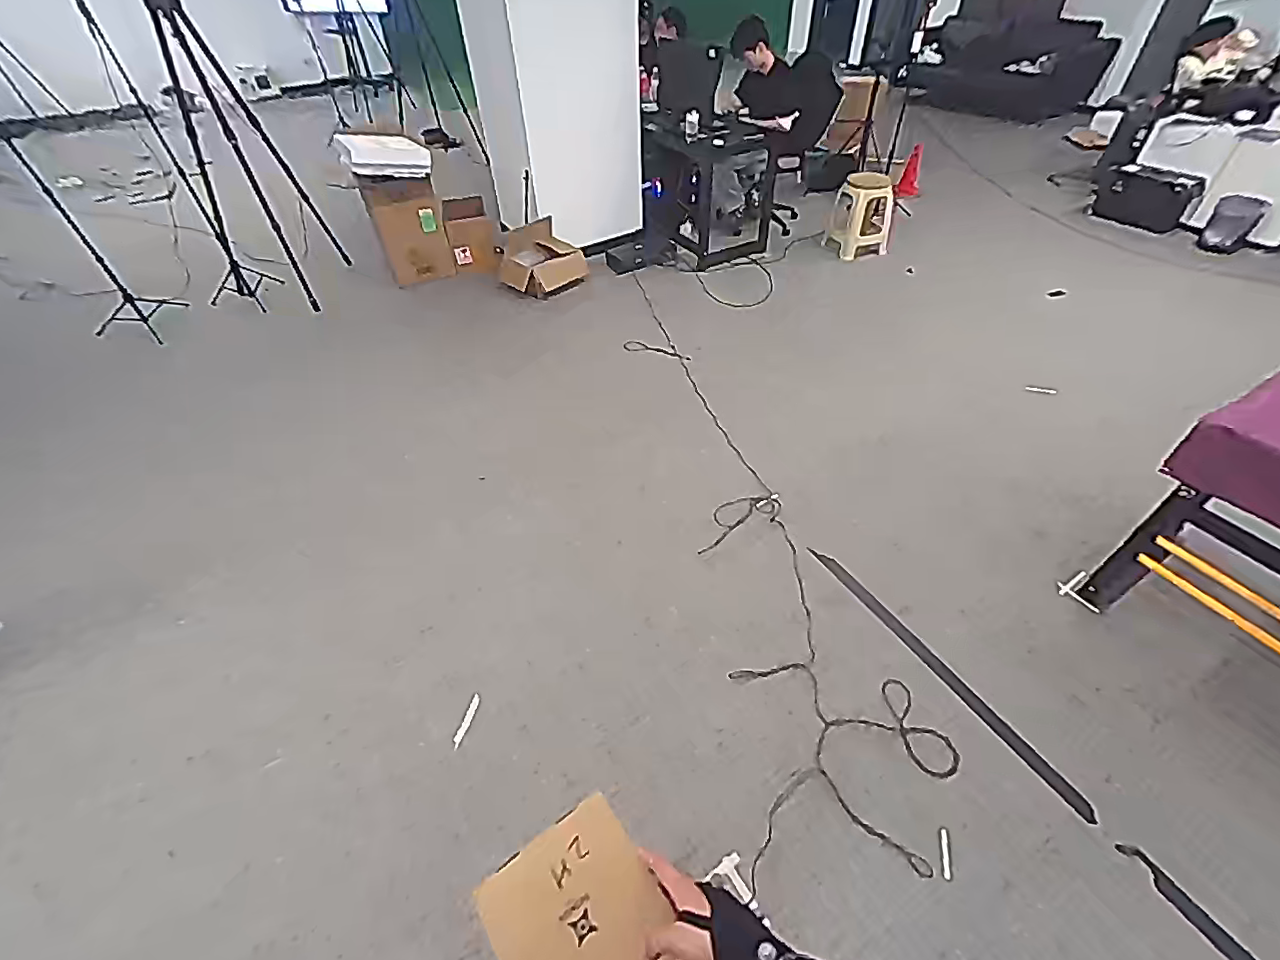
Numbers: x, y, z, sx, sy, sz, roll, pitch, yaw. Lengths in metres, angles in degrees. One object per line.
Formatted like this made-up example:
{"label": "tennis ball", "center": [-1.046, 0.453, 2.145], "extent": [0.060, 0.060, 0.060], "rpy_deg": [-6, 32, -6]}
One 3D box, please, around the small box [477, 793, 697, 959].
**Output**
{"label": "small box", "center": [-0.057, 0.500, 0.612], "extent": [0.168, 0.176, 0.179], "rpy_deg": [-28, 55, -24]}
